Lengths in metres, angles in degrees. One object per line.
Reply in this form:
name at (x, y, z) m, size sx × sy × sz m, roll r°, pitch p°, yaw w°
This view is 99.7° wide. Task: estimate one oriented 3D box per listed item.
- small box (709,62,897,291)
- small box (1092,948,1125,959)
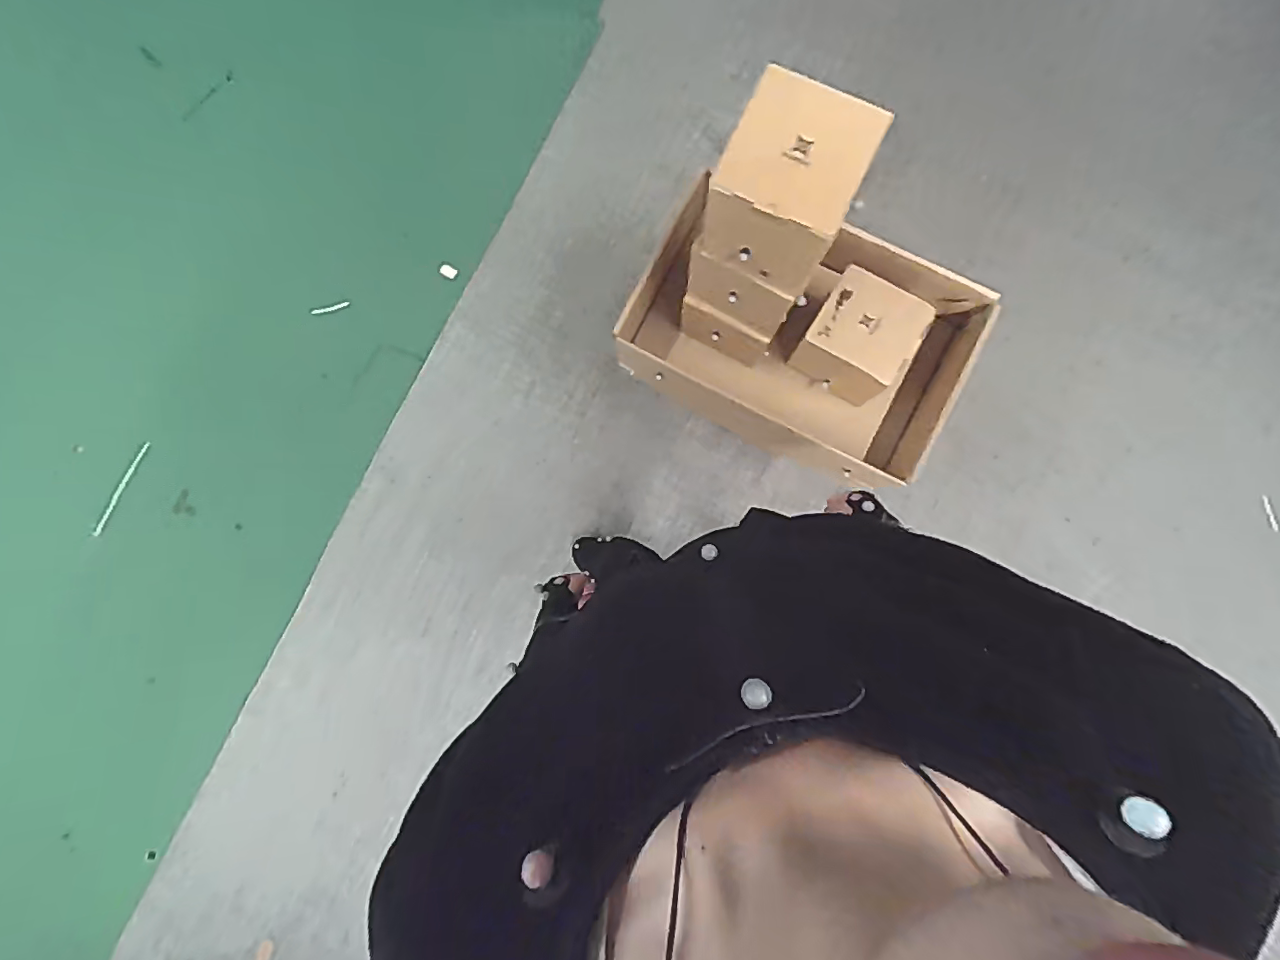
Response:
small box at (0.202, -0.392, 0.728) m, size 0.168 × 0.176 × 0.179 m, roll 26°, pitch 87°, yaw 5°
small box at (1.185, 1.273, 1.272) m, size 0.168 × 0.176 × 0.179 m, roll 26°, pitch 87°, yaw 6°
